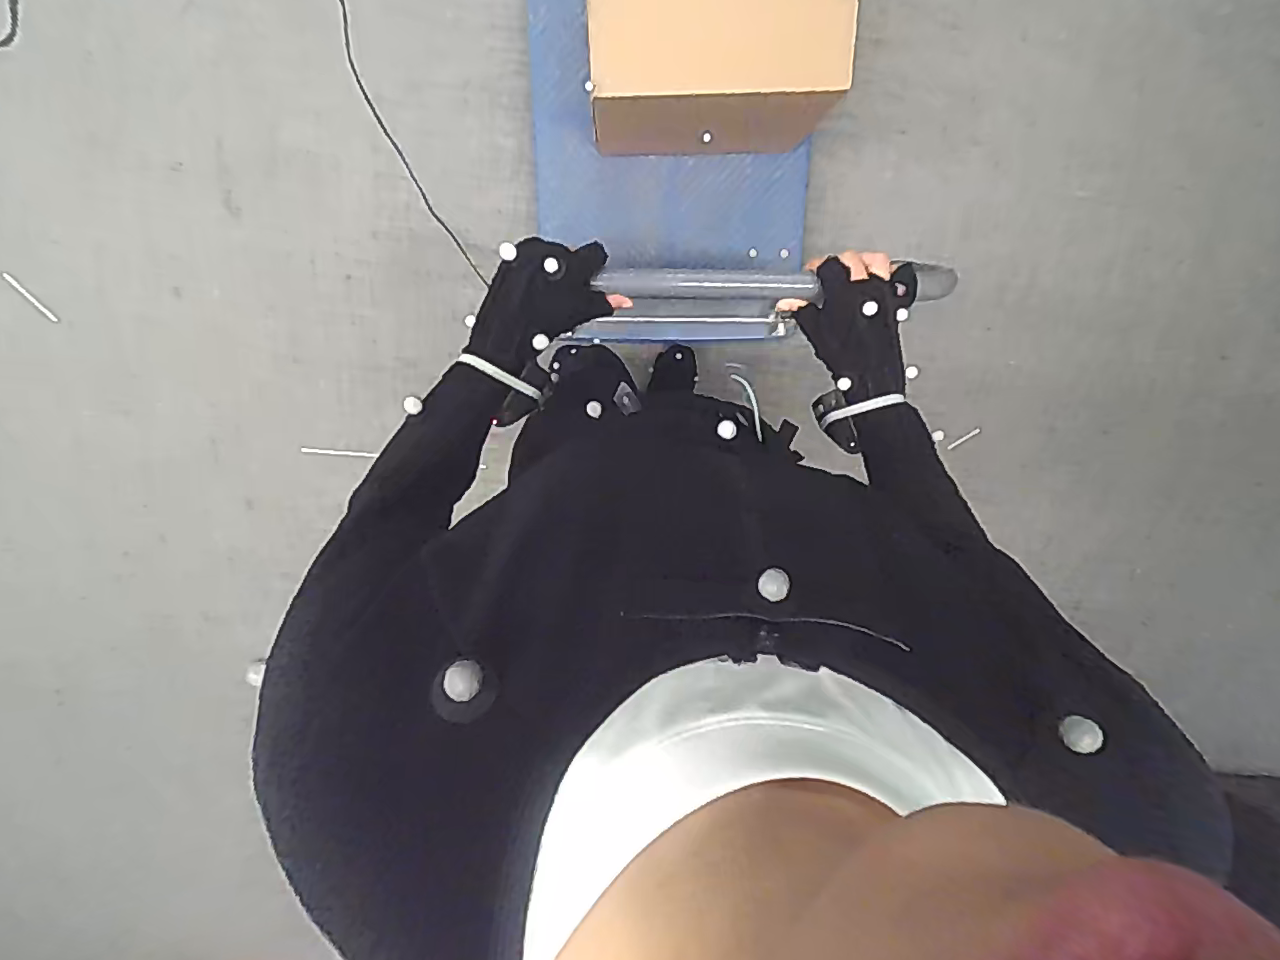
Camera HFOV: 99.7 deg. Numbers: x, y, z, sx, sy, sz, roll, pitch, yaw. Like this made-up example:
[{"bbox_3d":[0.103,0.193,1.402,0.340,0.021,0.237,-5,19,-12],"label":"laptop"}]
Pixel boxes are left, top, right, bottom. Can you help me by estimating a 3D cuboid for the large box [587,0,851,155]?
[{"bbox_3d":[0.117,-0.791,0.946,0.408,0.320,0.320,-3,105,-1],"label":"large box"}]
